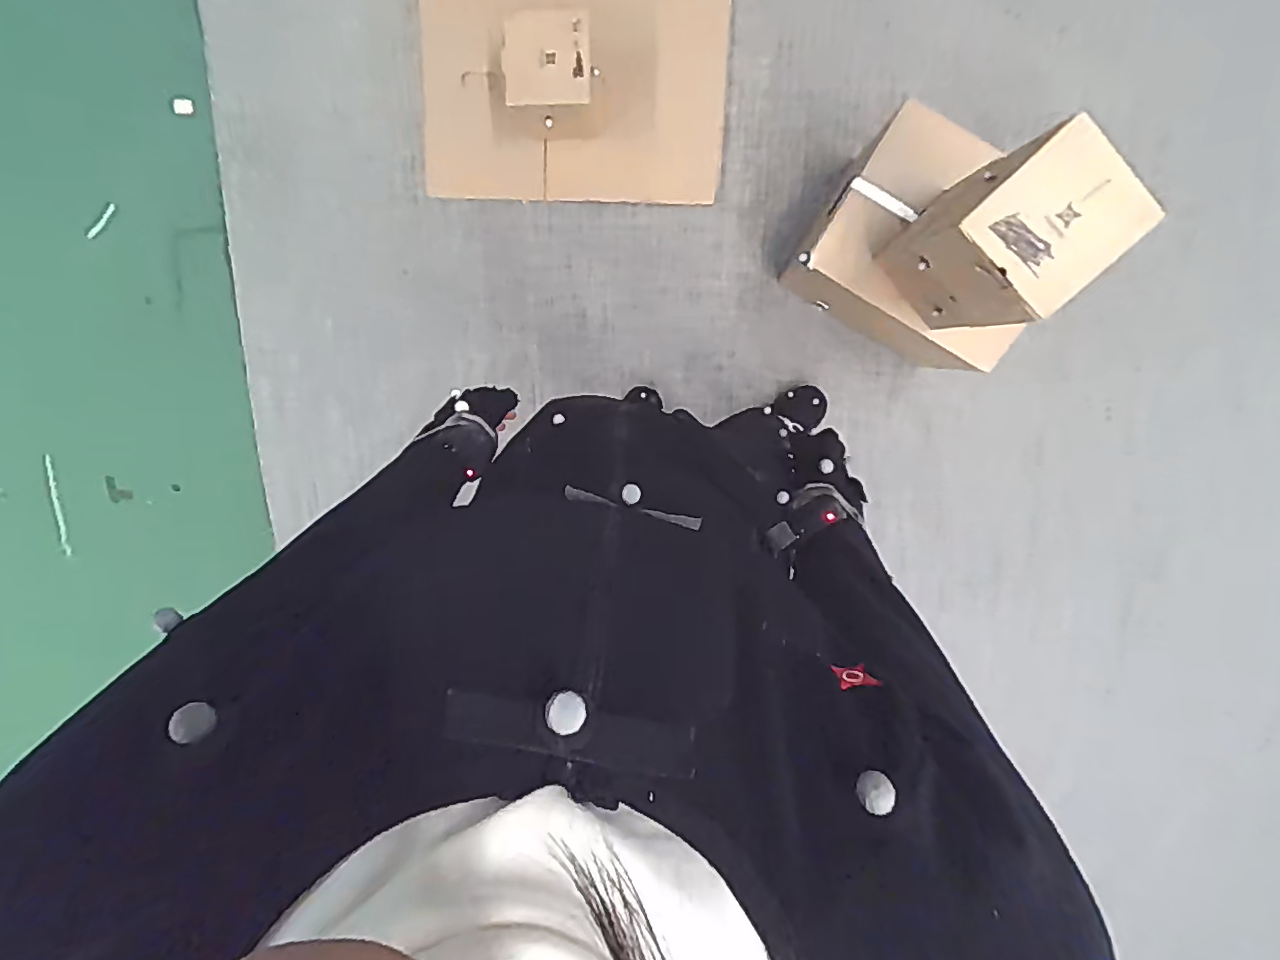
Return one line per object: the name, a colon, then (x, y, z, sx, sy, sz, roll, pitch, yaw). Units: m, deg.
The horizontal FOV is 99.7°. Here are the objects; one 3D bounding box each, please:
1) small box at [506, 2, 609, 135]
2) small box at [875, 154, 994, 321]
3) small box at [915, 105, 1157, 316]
small box: (-0.167, -0.858, 1.147, 0.179, 0.176, 0.168, 0, 101, 7)
small box: (0.526, -0.381, 0.889, 0.168, 0.176, 0.179, -43, 95, 12)
small box: (0.506, -0.341, 0.731, 0.168, 0.176, 0.179, 42, 104, -6)
